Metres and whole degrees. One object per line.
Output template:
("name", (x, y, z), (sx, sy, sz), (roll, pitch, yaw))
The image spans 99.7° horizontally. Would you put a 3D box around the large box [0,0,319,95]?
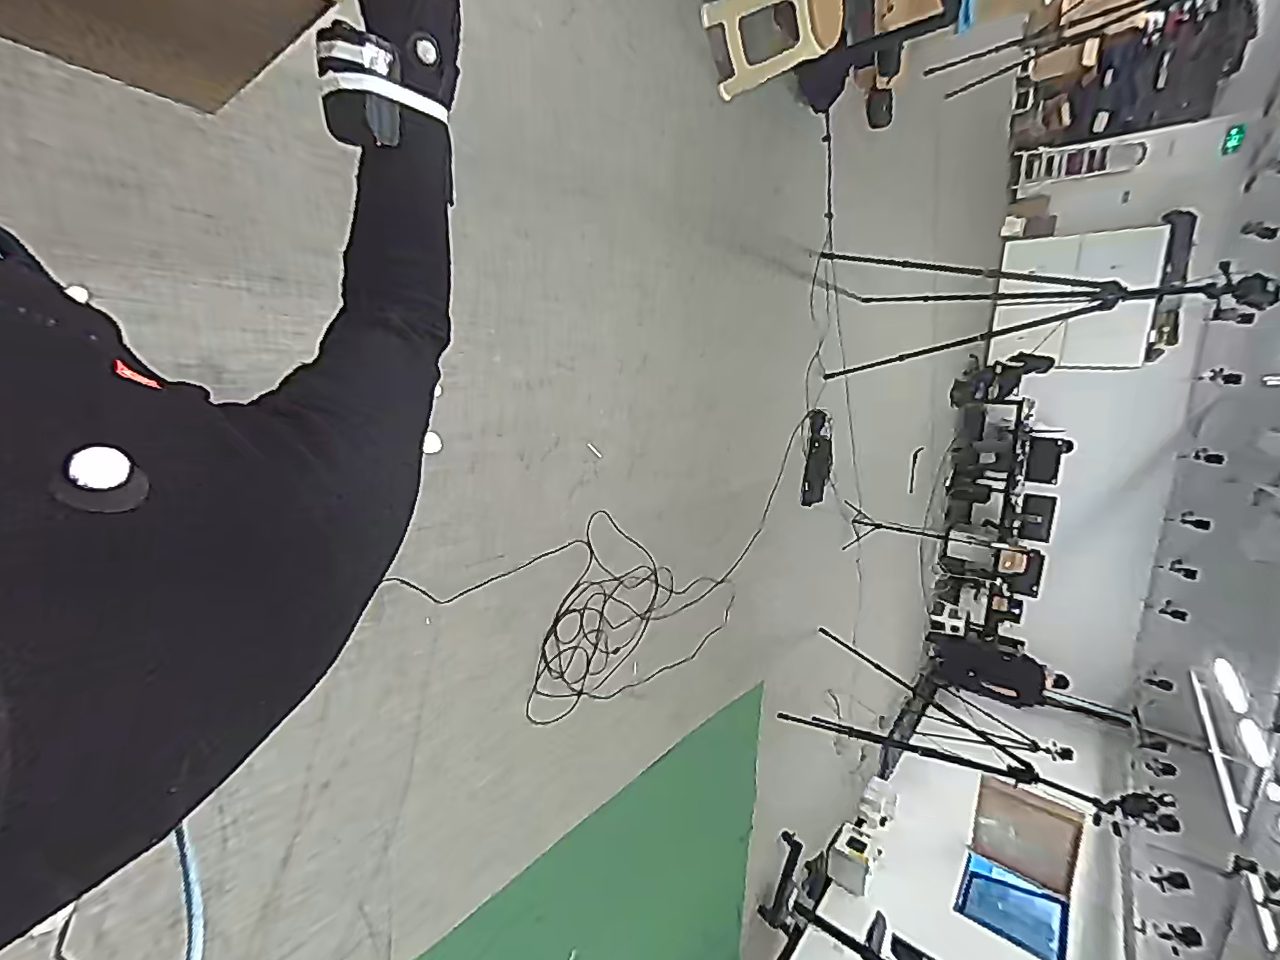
("large box", (-0.416, -0.477, 0.262), (0.408, 0.320, 0.320), (-6, 107, -50))
